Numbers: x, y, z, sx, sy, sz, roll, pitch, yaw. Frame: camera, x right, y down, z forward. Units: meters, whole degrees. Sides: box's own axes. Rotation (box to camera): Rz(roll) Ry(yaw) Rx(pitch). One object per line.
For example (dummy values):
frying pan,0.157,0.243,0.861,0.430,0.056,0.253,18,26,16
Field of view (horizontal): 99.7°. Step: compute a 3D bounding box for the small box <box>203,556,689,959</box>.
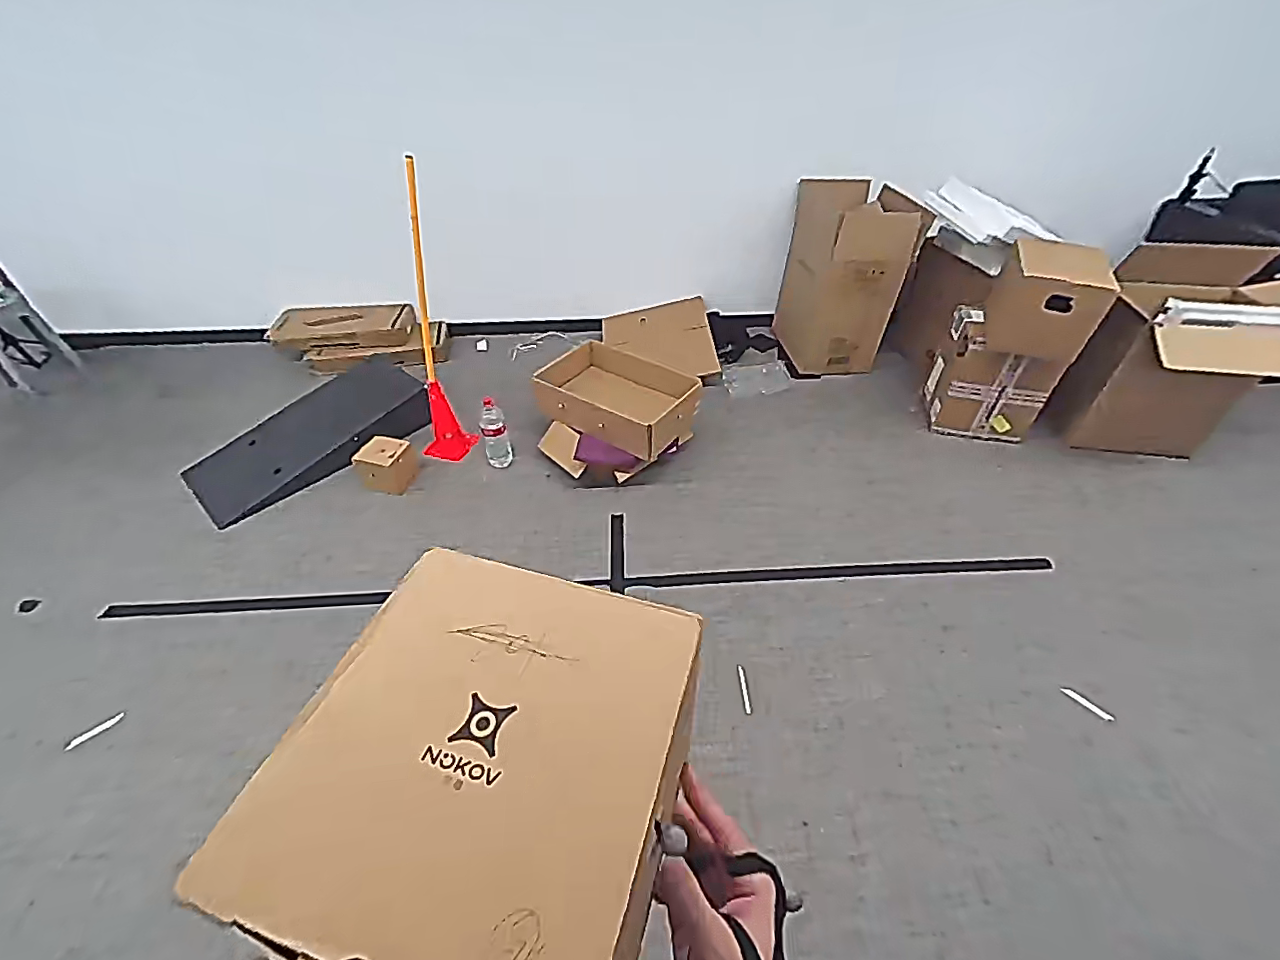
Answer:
small box,-0.072,0.176,0.309,0.168,0.176,0.179,11,44,12
